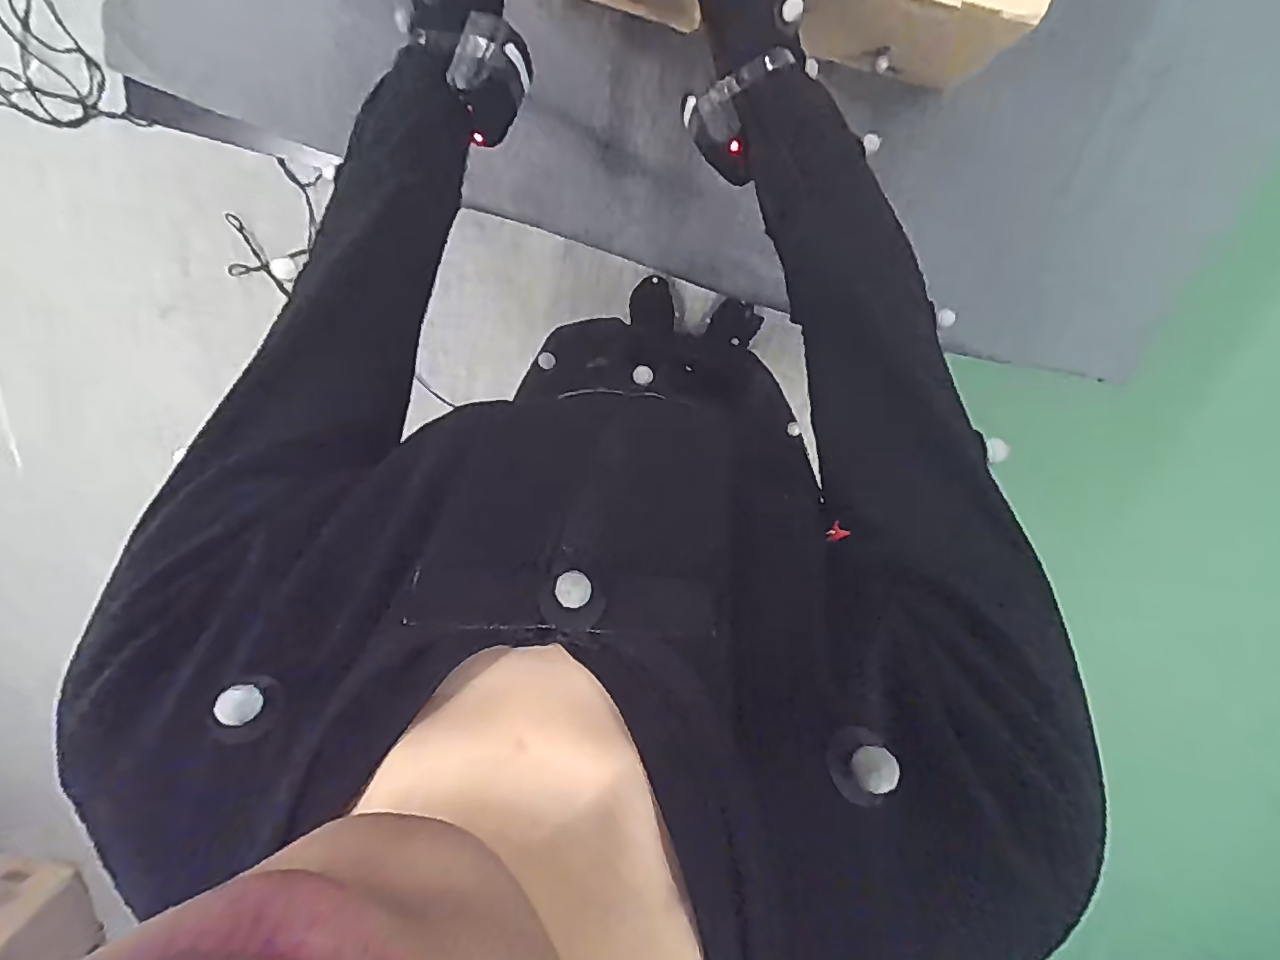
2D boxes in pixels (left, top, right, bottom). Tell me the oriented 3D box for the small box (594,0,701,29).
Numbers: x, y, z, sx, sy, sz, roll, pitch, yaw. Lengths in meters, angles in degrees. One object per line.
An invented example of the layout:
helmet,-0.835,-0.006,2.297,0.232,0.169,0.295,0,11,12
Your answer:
small box,-0.004,-0.517,0.423,0.168,0.176,0.179,17,105,-2

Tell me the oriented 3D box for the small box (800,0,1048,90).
small box,0.245,-0.463,0.445,0.168,0.176,0.179,15,113,1
